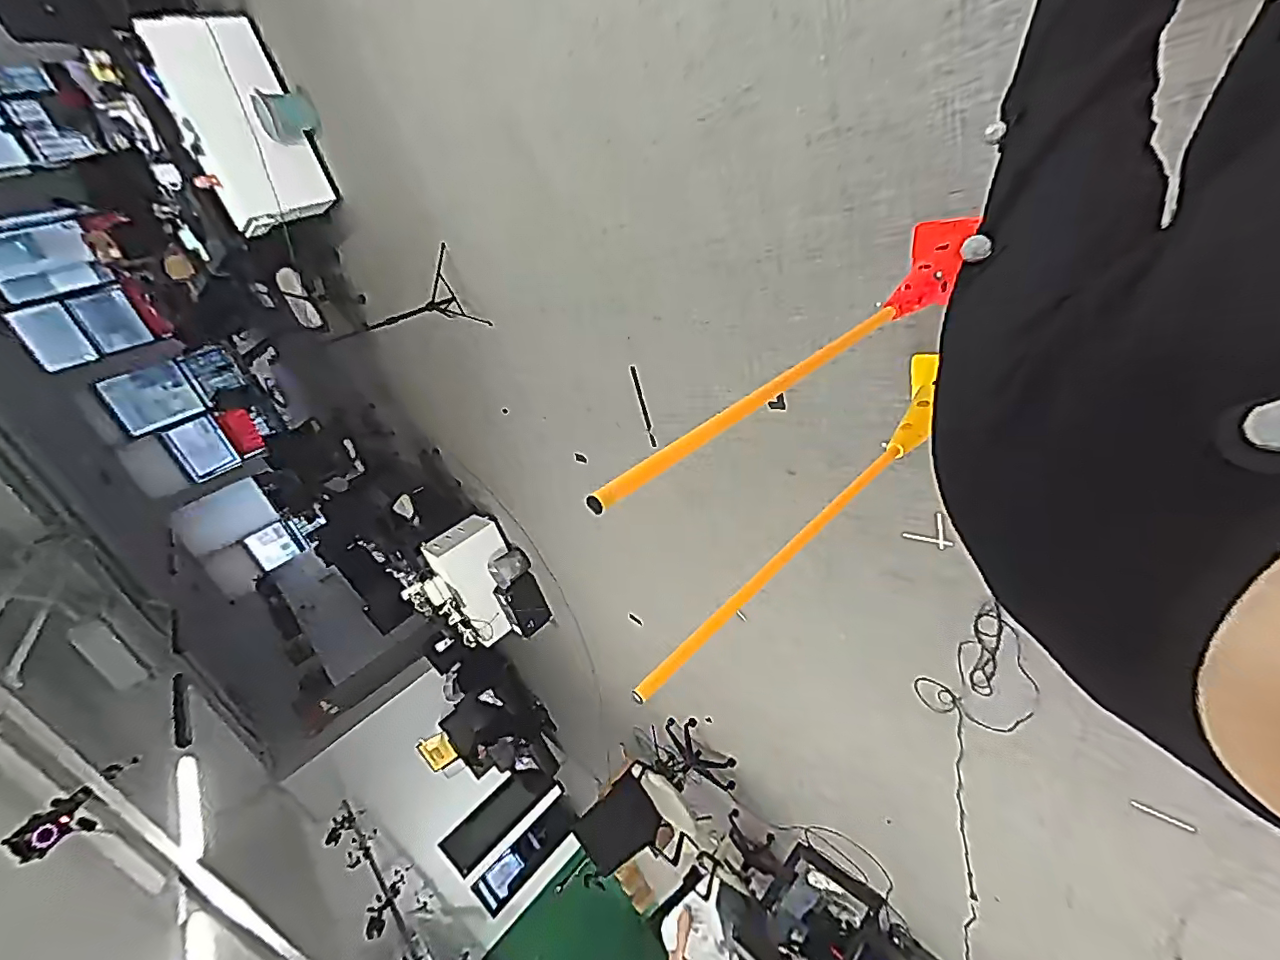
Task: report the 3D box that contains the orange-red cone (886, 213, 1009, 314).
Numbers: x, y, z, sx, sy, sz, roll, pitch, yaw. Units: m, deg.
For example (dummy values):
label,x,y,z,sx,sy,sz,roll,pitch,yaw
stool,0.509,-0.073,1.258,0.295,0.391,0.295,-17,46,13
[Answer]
label,x,y,z,sx,sy,sz,roll,pitch,yaw
orange-red cone,0.640,-0.444,1.199,0.198,0.360,0.199,20,133,42
